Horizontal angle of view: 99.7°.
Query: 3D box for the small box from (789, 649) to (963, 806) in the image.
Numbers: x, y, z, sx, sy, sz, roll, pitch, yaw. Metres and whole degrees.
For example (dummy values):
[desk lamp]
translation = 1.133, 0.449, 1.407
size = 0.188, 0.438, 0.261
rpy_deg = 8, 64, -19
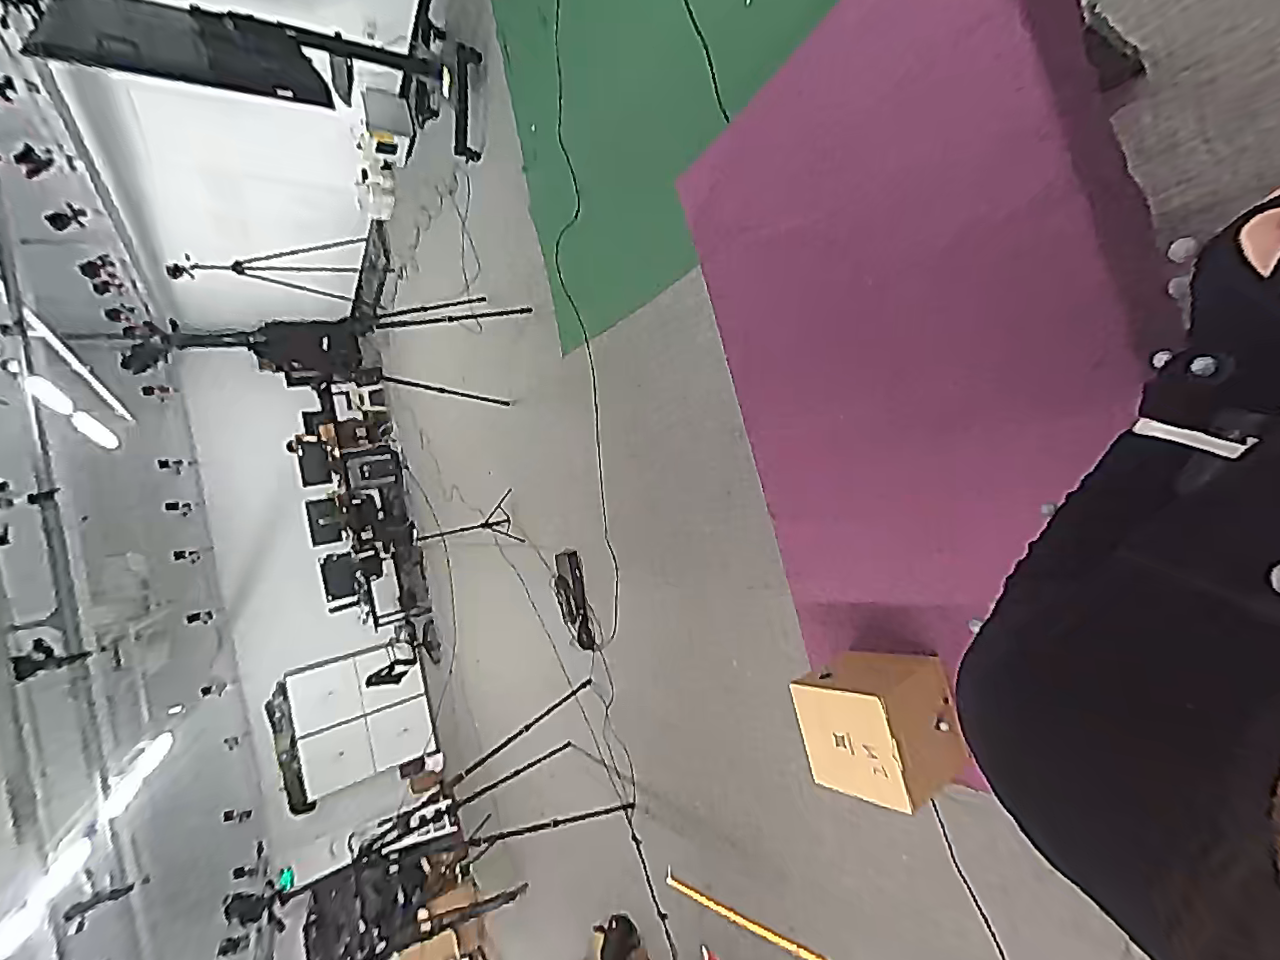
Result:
[small box]
translation = 0.377, 0.382, 0.873
size = 0.179, 0.176, 0.168
rpy_deg = -20, 82, 56
